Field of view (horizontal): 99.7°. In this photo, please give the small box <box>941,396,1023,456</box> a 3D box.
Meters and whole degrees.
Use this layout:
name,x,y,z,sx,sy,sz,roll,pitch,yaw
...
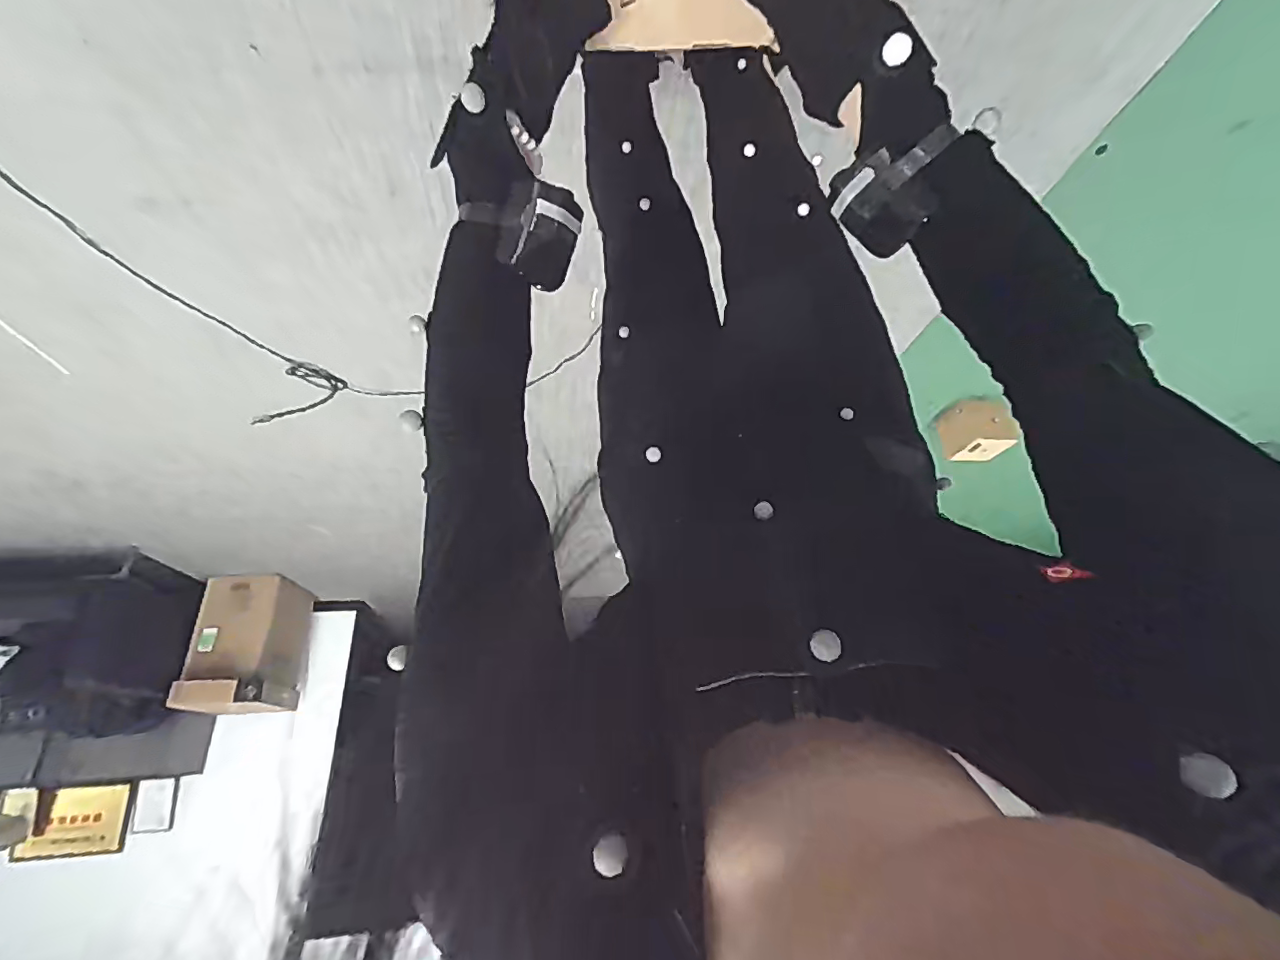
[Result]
name,x,y,z,sx,sy,sz,roll,pitch,yaw
small box,1.275,-0.205,2.032,0.179,0.176,0.168,-1,155,-11

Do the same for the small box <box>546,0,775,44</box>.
name,x,y,z,sx,sy,sz,roll,pitch,yaw
small box,0.011,-0.439,0.361,0.168,0.176,0.179,-2,155,0
